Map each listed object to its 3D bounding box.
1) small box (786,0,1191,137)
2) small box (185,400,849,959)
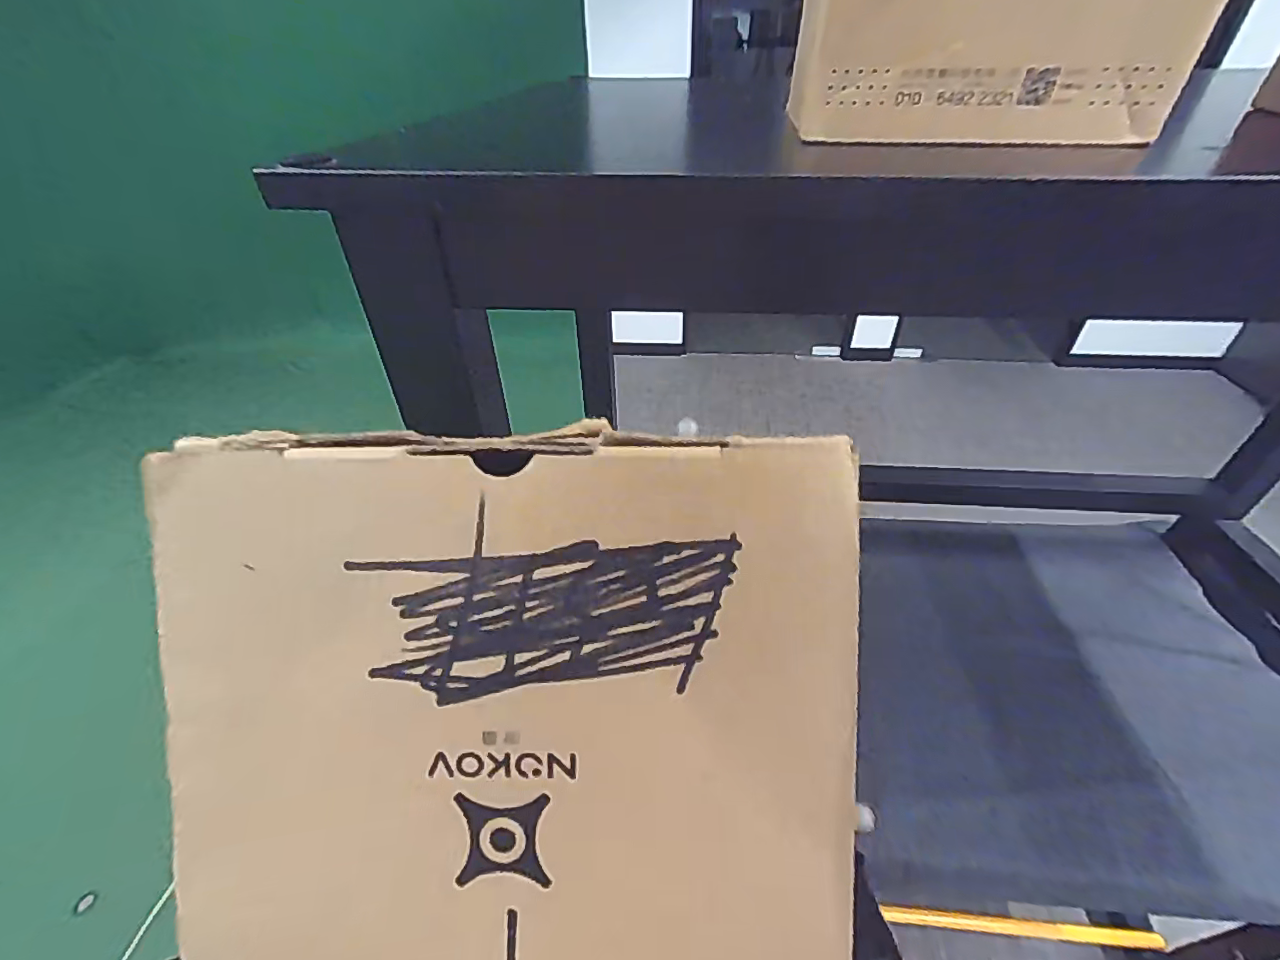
[{"bbox_3d":[0.174,-0.289,0.286,0.168,0.176,0.179,5,39,8],"label":"small box"},{"bbox_3d":[-0.030,0.065,0.216,0.168,0.179,0.176,0,3,2],"label":"small box"}]
